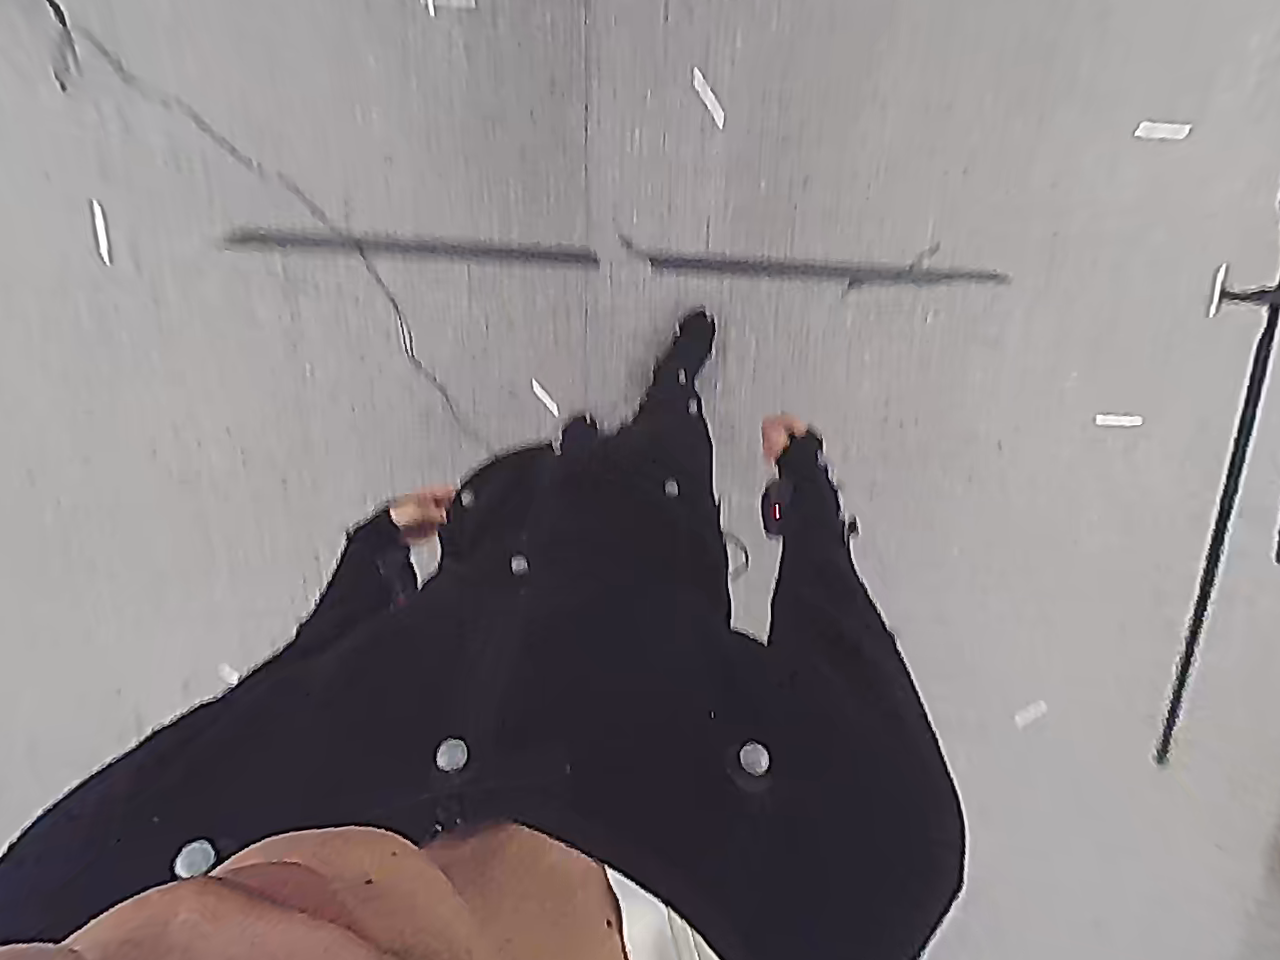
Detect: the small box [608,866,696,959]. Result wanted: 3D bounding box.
[{"bbox_3d":[0.019,0.987,1.173,0.168,0.176,0.179,4,103,-5],"label":"small box"}]
